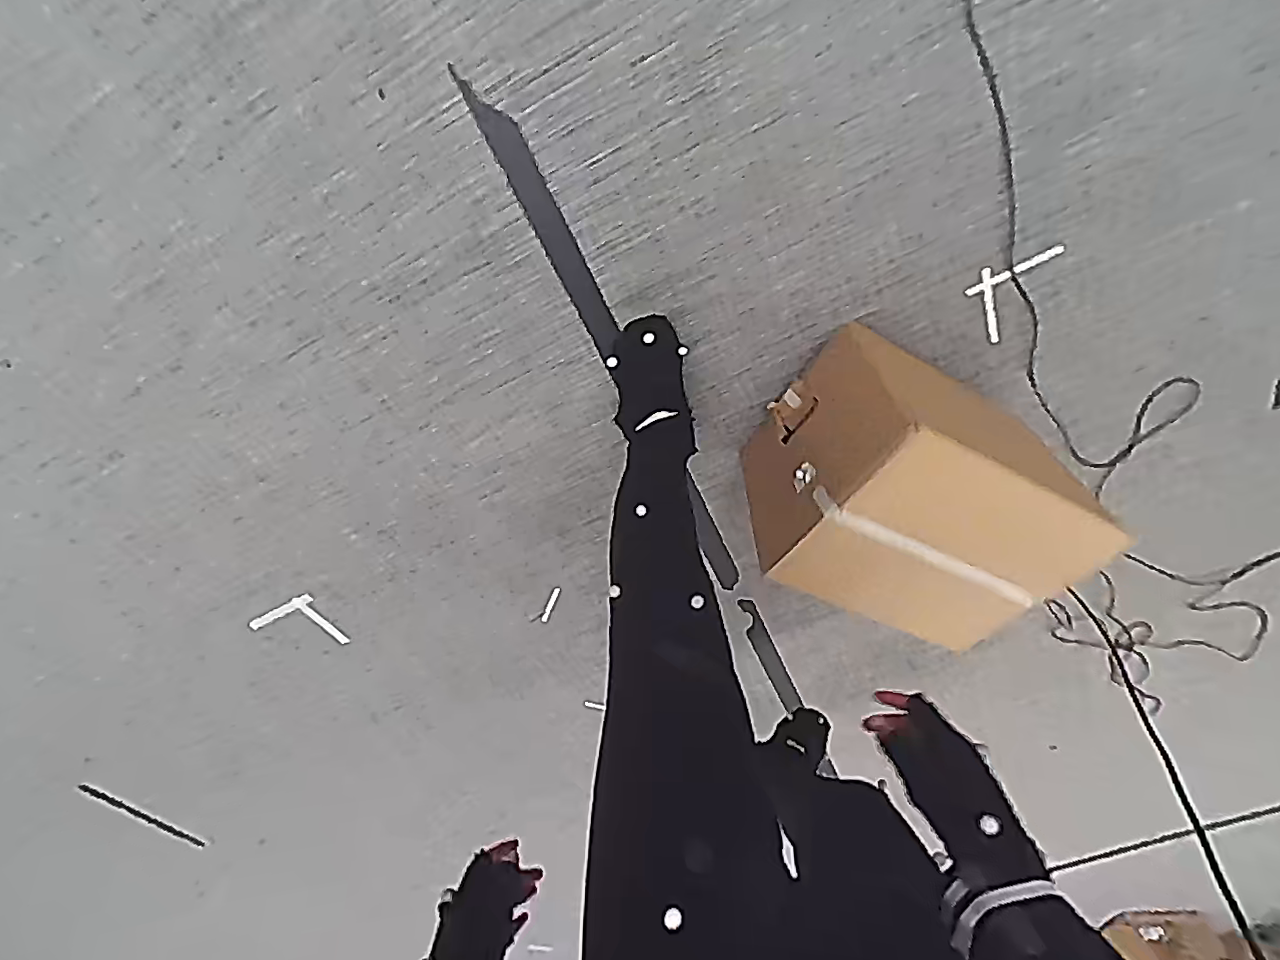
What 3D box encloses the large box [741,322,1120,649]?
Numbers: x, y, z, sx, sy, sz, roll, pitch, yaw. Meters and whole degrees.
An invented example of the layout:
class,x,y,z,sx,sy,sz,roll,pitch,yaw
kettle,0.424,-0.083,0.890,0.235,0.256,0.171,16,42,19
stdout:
class,x,y,z,sx,sy,sz,roll,pitch,yaw
large box,0.428,0.015,0.888,0.408,0.320,0.320,24,126,-15
